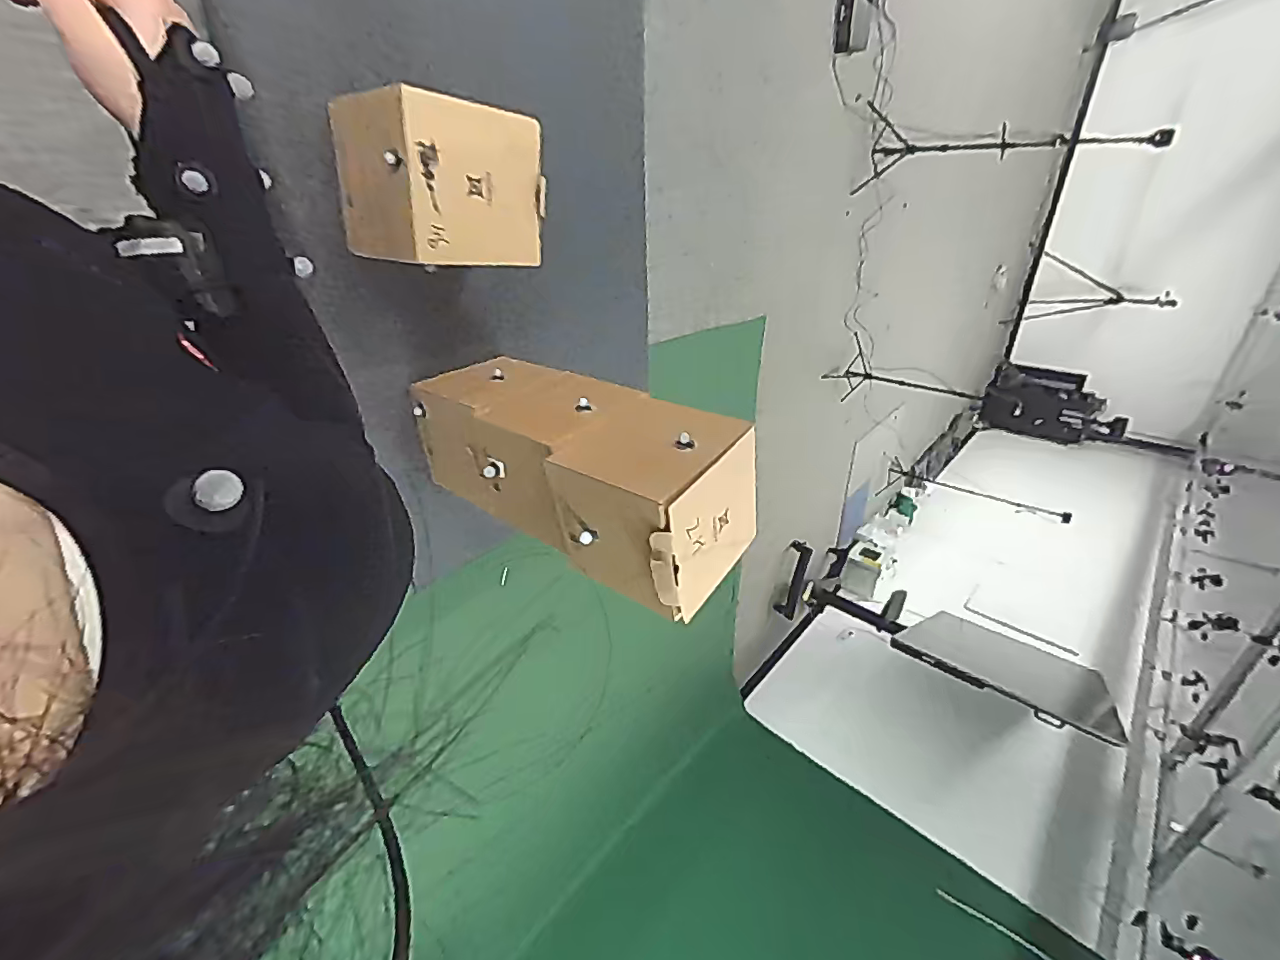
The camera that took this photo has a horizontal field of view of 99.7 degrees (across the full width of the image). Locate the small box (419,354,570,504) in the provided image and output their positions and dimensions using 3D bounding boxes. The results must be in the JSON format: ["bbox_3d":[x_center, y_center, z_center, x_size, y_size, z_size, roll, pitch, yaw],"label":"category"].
[{"bbox_3d":[-0.219,-0.088,0.841,0.179,0.176,0.168,-32,131,-41],"label":"small box"}]

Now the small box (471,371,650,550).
[{"bbox_3d":[-0.099,-0.038,0.744,0.179,0.176,0.168,-35,131,-38],"label":"small box"}]

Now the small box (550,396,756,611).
[{"bbox_3d":[0.022,0.015,0.644,0.179,0.176,0.168,-38,133,-36],"label":"small box"}]

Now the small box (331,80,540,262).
[{"bbox_3d":[-0.244,-0.365,0.665,0.179,0.176,0.168,-23,125,-46],"label":"small box"}]
